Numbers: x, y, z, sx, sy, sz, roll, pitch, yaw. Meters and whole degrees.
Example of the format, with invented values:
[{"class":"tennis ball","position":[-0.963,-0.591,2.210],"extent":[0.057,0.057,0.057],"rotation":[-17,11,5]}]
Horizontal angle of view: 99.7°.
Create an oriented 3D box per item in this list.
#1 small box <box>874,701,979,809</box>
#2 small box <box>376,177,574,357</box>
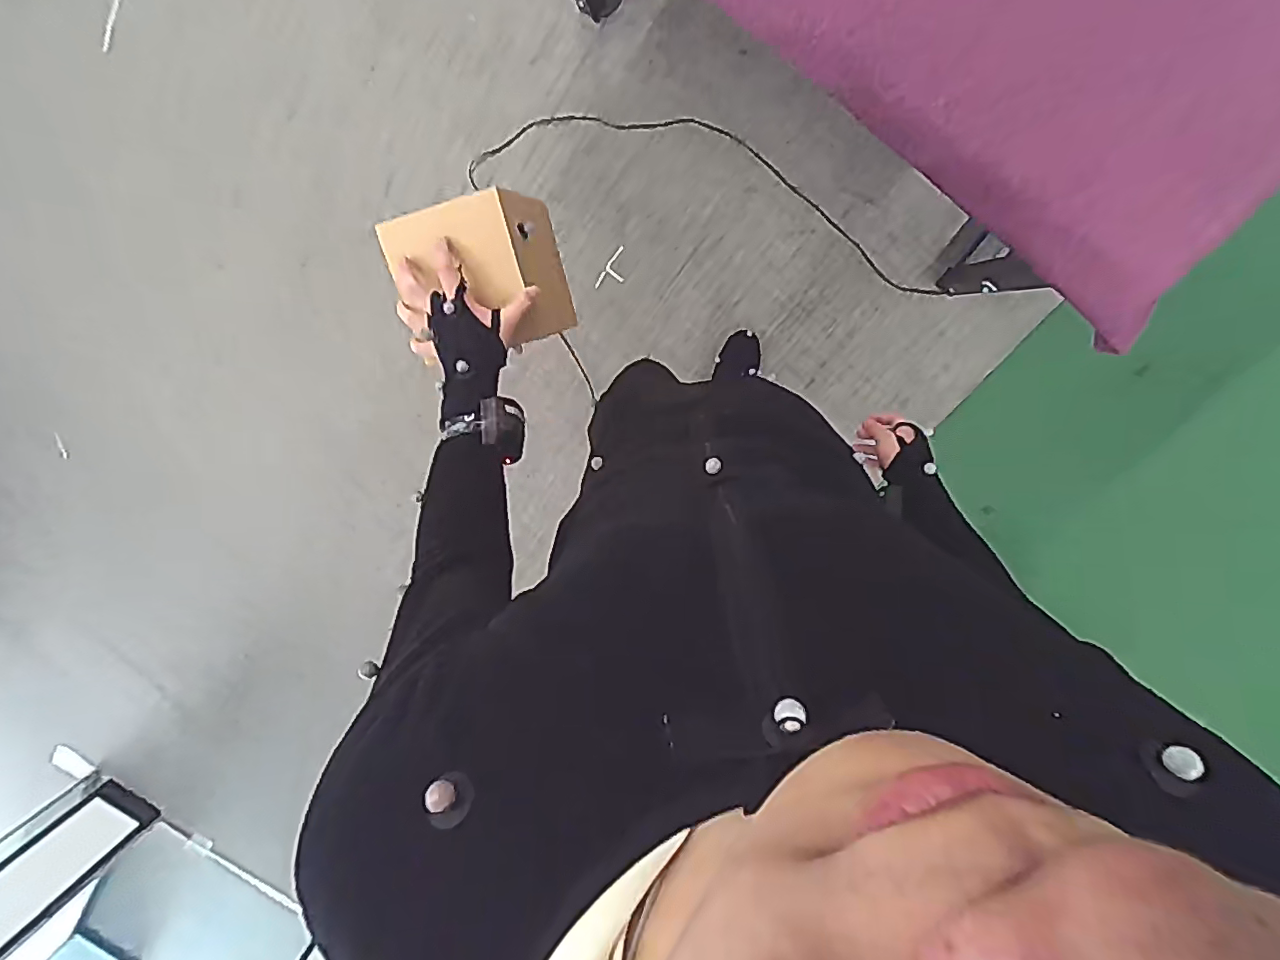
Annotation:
[{"class":"small box","position":[0.795,0.766,1.519],"extent":[0.179,0.176,0.168],"rotation":[41,109,-5]},{"class":"small box","position":[-0.203,-0.275,0.717],"extent":[0.168,0.176,0.179],"rotation":[-8,111,15]}]
